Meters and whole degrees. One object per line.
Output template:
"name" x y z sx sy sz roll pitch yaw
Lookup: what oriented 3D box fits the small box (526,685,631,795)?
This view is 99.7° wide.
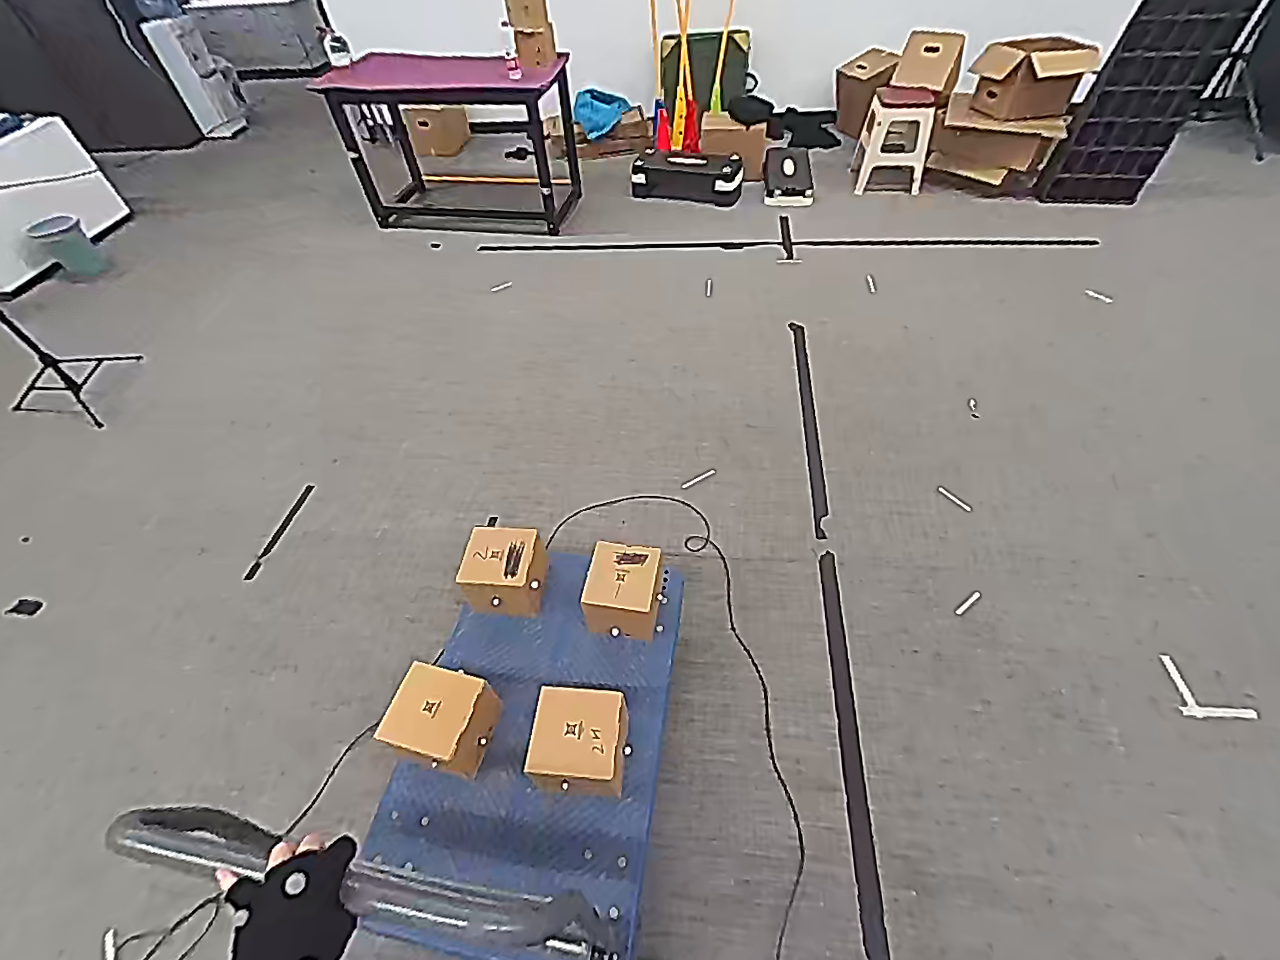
"small box" -0.120 0.548 1.135 0.179 0.176 0.168 2 50 7

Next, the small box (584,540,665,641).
"small box" -0.031 0.278 1.358 0.168 0.176 0.179 7 52 10

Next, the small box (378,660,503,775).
"small box" -0.424 0.521 1.181 0.179 0.176 0.168 11 51 11
